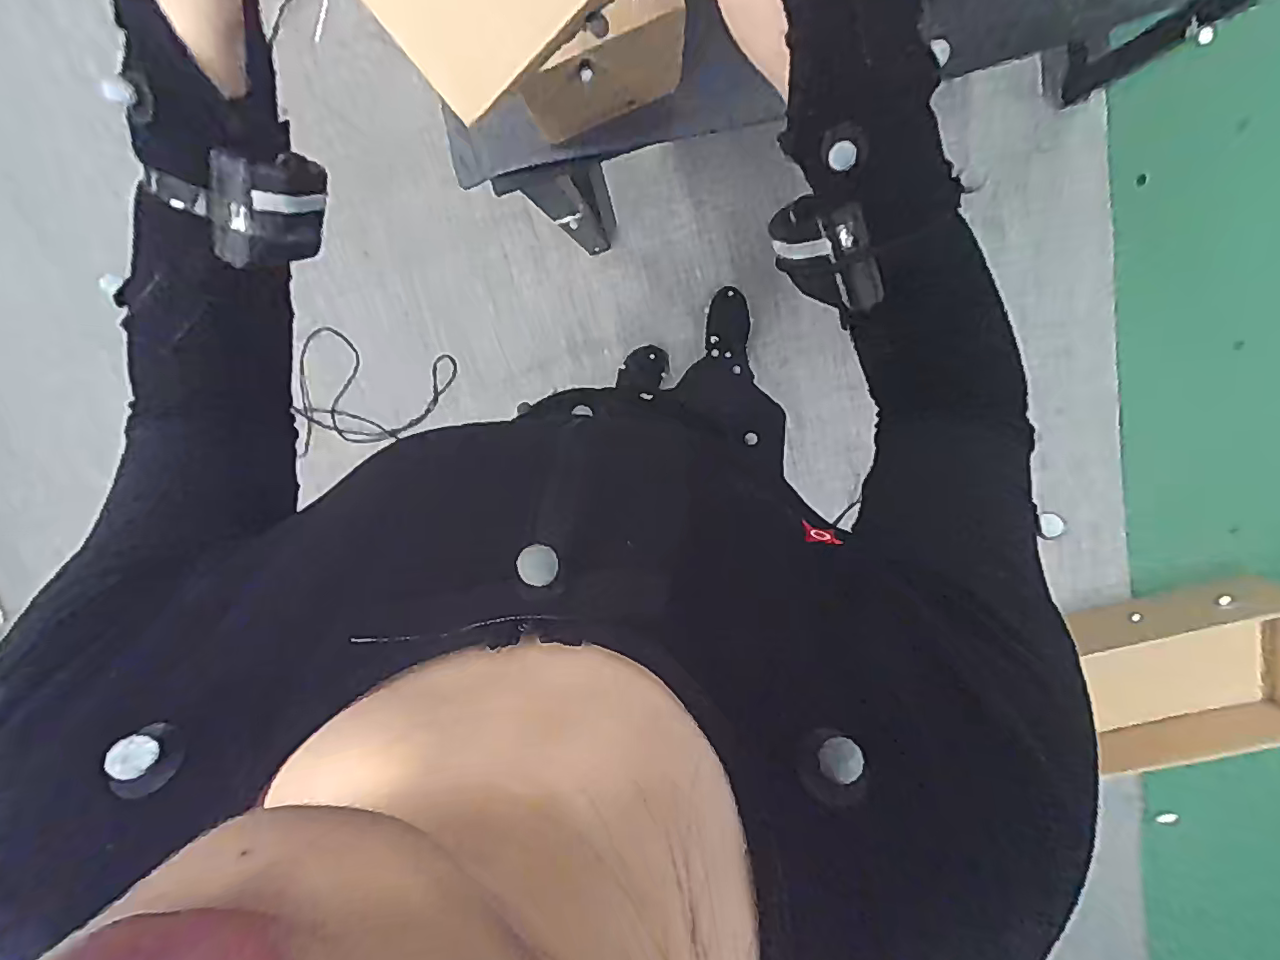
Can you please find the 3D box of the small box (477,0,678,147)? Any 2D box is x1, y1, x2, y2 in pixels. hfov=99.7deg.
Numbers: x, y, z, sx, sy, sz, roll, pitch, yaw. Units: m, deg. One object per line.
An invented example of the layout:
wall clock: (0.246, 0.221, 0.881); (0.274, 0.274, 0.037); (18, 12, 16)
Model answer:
small box: (-0.069, -0.479, 0.542); (0.168, 0.176, 0.179); (-19, 103, 7)
